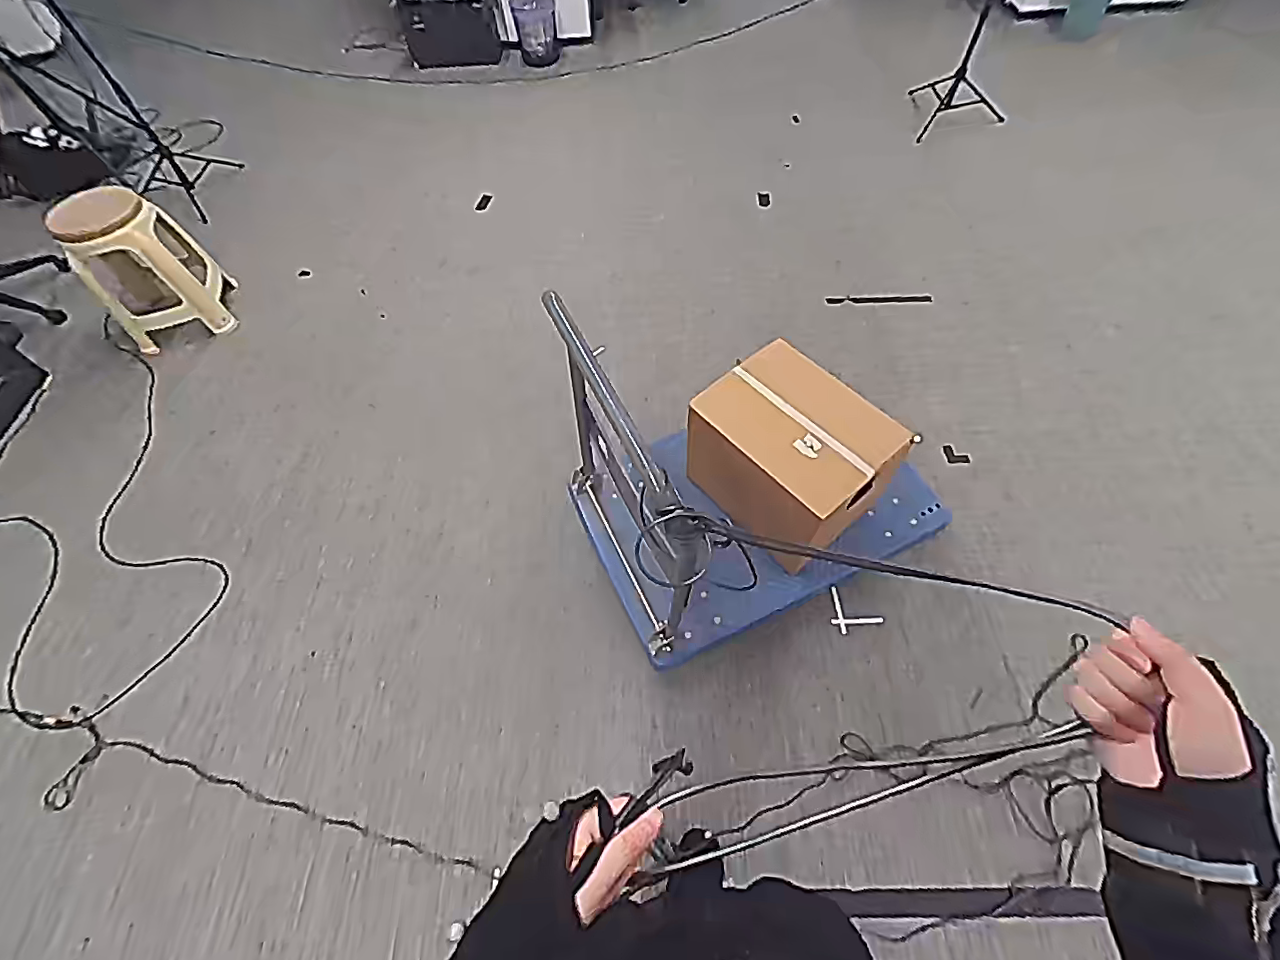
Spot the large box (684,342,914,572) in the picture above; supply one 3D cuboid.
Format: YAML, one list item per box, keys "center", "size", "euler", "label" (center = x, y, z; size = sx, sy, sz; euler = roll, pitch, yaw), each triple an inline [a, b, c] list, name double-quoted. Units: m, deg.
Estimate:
- center: [0.356, -0.055, 1.330]
  size: [0.320, 0.320, 0.408]
  euler: [-37, 65, -17]
  label: "large box"
